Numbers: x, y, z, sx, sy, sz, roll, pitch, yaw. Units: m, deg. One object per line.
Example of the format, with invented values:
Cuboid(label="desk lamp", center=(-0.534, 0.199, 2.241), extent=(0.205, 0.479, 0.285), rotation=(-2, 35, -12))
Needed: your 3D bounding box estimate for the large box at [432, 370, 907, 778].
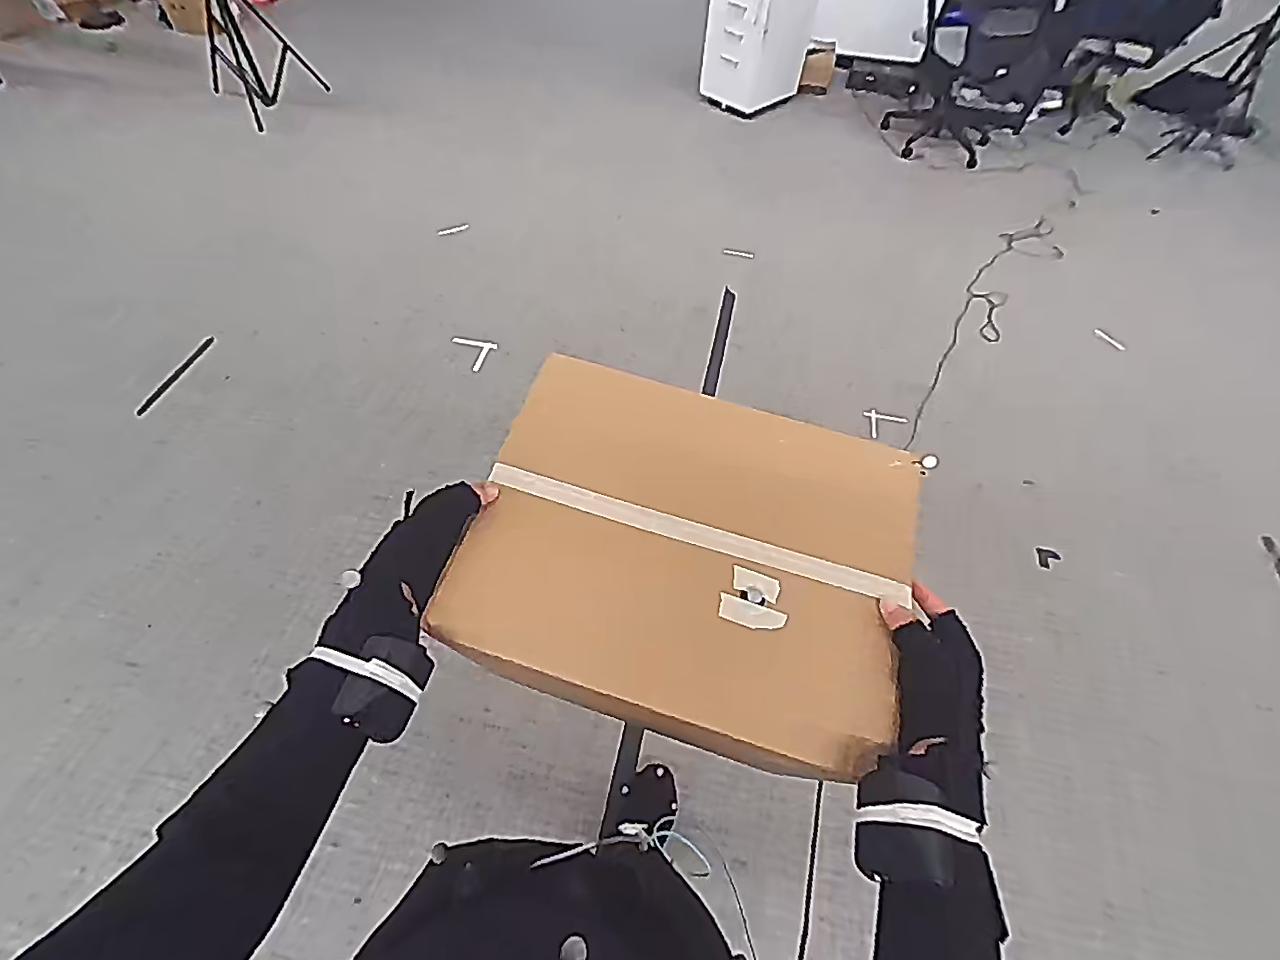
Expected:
Cuboid(label="large box", center=(0.039, 0.125, 0.649), extent=(0.408, 0.320, 0.320), rotation=(17, 65, 5))
